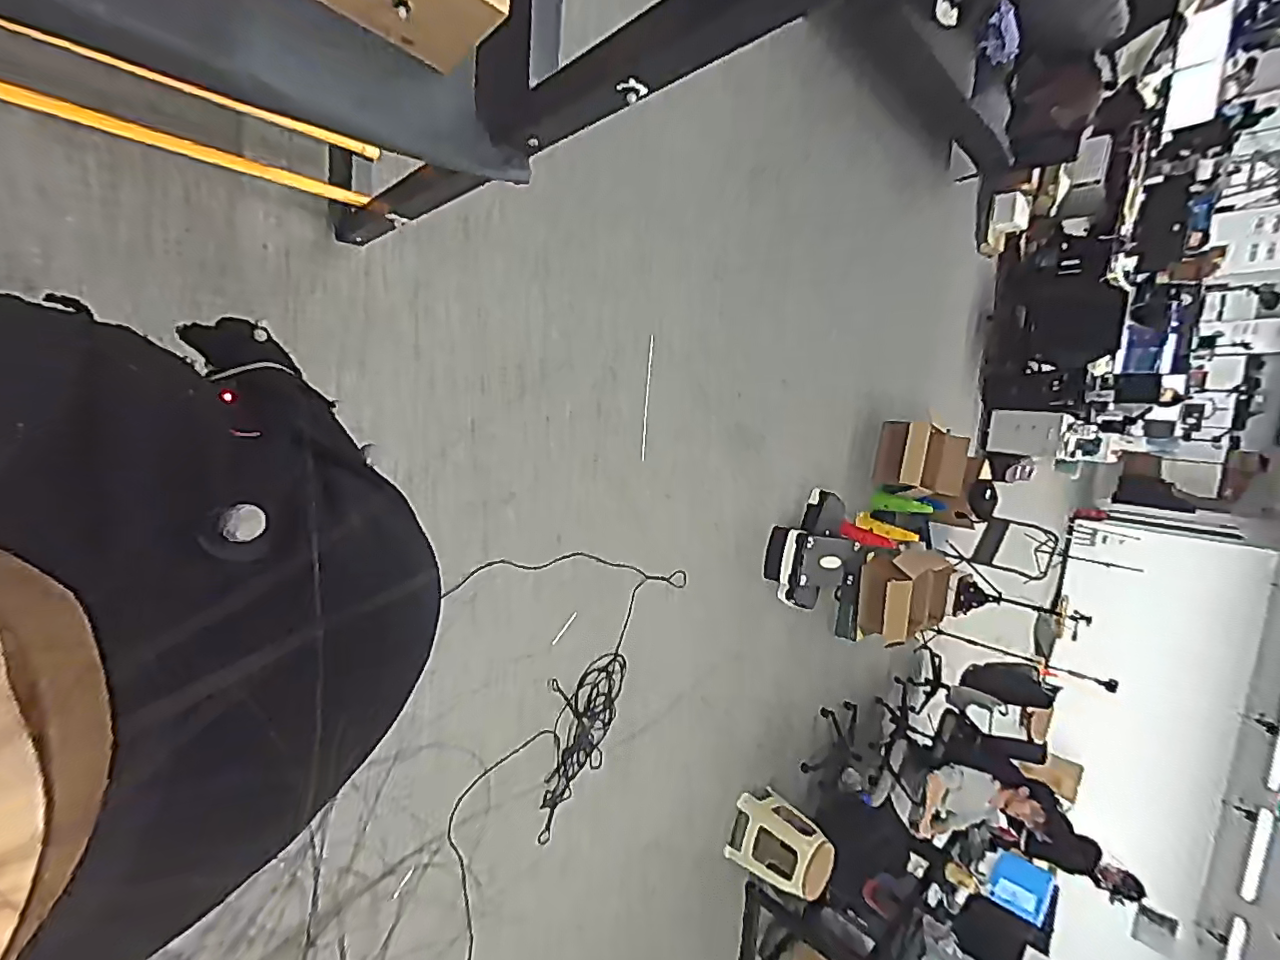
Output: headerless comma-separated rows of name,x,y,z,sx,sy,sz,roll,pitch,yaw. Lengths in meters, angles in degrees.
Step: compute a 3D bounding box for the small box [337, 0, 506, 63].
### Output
small box,-0.257,-0.628,0.612,0.168,0.176,0.179,2,96,-45
